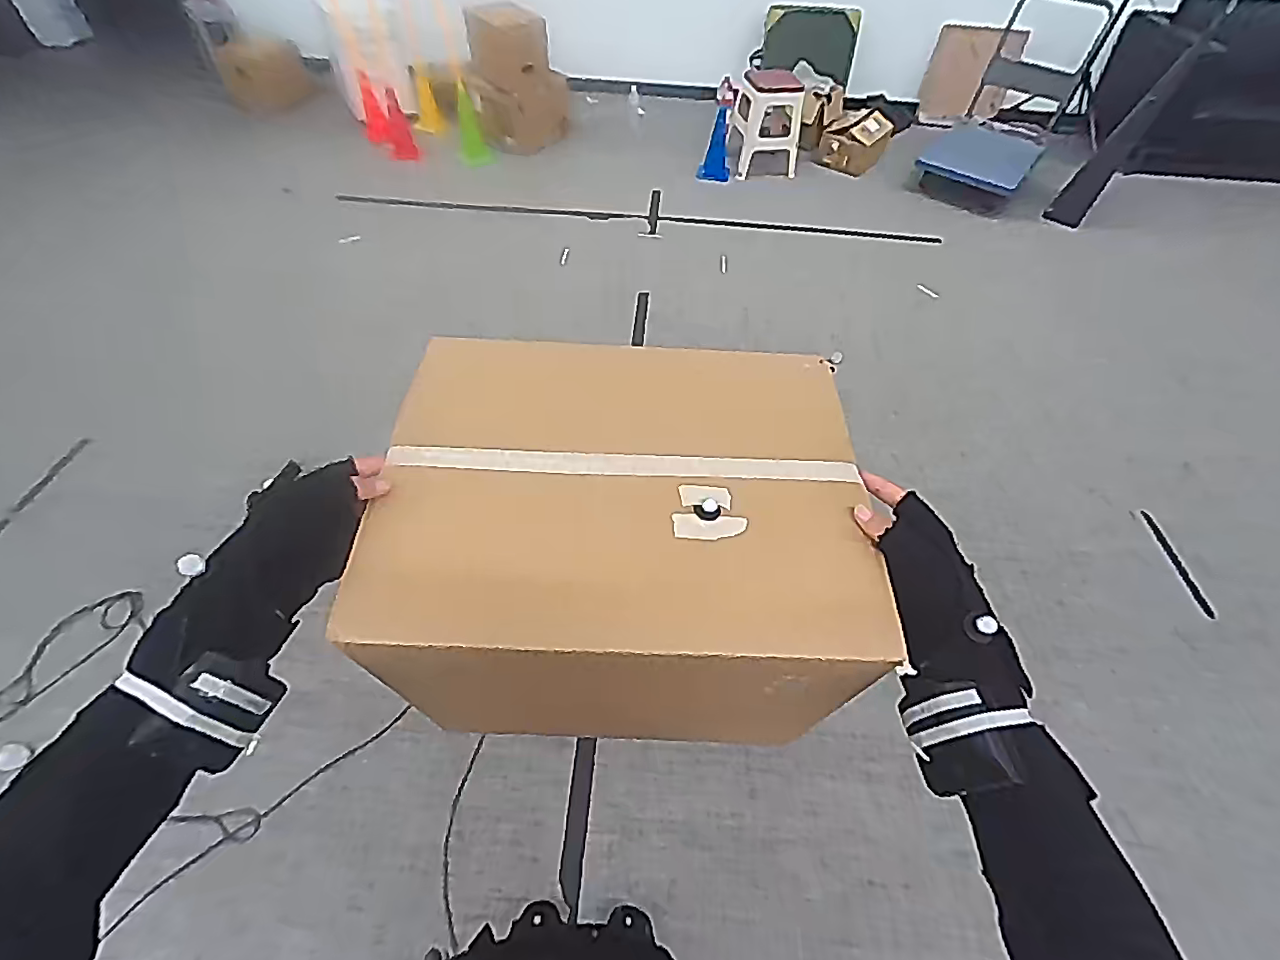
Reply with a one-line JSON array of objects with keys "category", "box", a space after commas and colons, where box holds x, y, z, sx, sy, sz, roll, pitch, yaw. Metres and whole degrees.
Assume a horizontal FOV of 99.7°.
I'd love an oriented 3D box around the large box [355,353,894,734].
[{"category": "large box", "box": [-0.015, 0.084, 0.598, 0.408, 0.320, 0.320, 3, 55, -2]}]
